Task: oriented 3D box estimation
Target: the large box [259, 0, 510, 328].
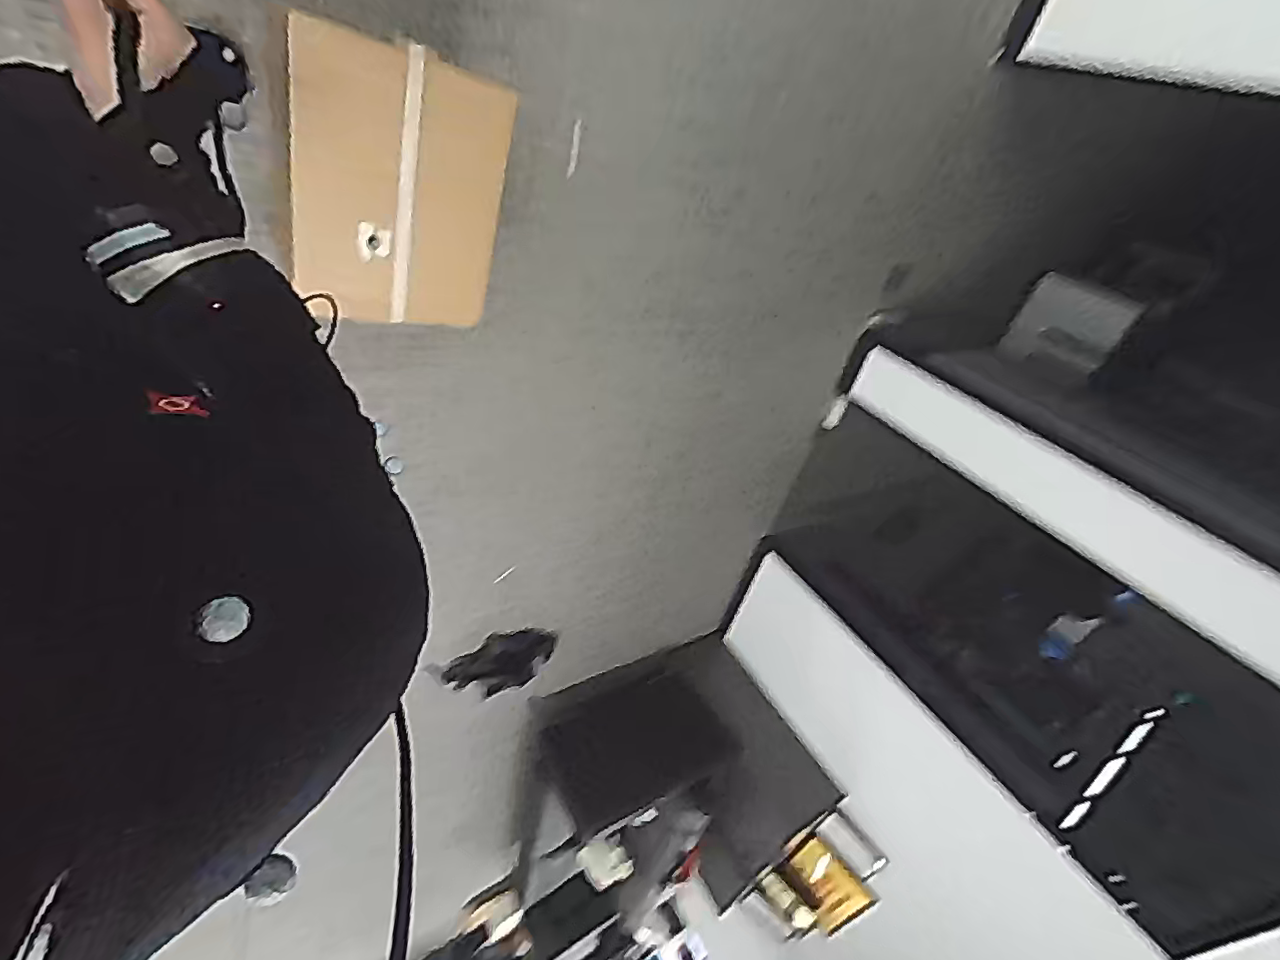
[{"bbox_3d":[-0.464,-0.534,0.962,0.320,0.320,0.408,-5,131,-37],"label":"large box"}]
